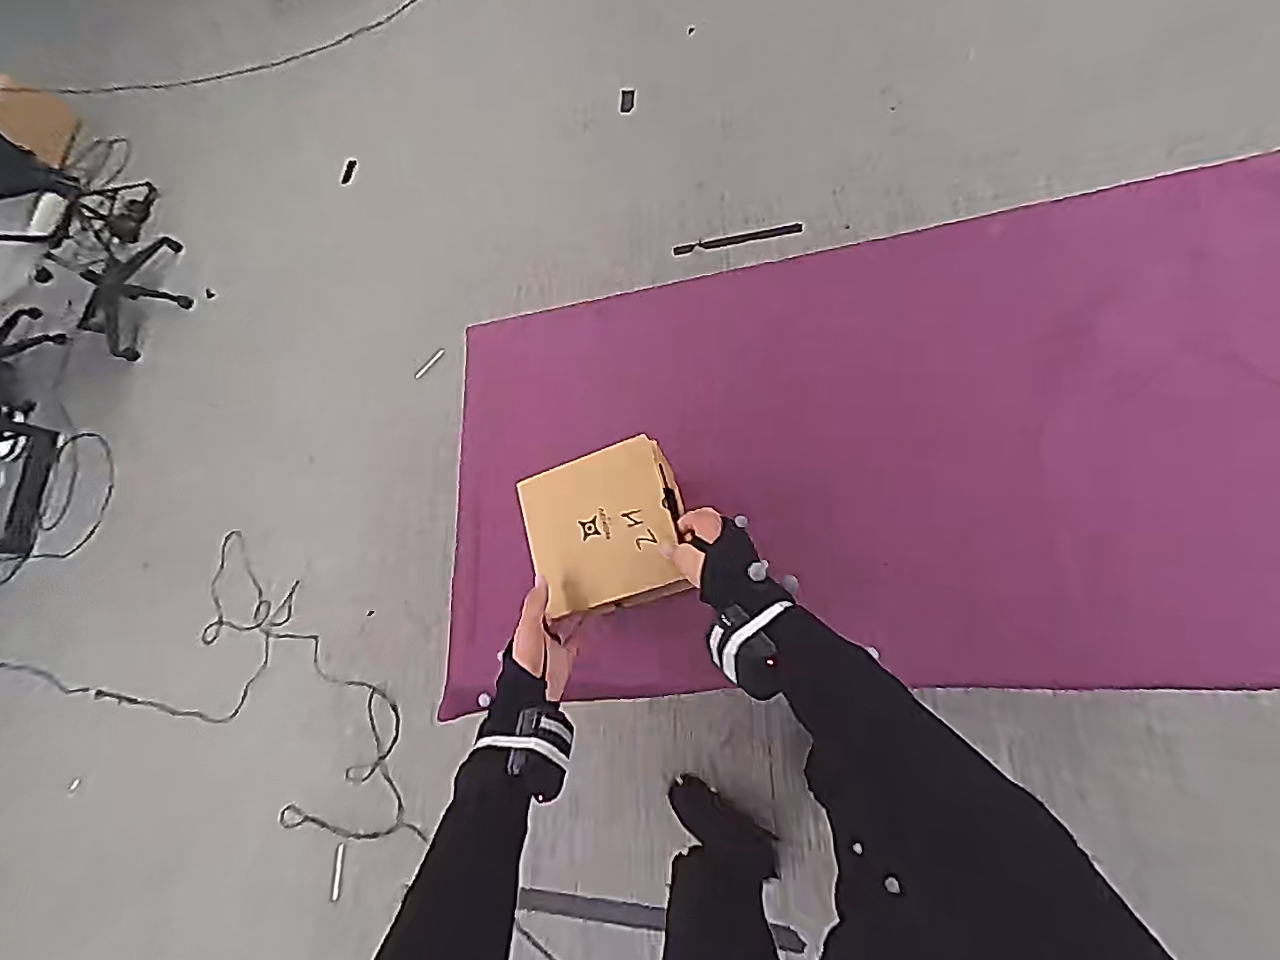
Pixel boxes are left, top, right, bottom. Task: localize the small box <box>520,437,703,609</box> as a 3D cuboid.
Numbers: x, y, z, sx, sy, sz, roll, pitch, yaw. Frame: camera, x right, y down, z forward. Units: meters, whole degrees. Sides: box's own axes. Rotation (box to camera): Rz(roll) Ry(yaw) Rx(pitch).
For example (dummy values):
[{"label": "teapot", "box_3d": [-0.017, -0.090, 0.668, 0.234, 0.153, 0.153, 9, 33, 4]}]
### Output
[{"label": "small box", "box_3d": [-0.029, 0.067, 0.690, 0.179, 0.176, 0.168, -16, 74, 8]}]
